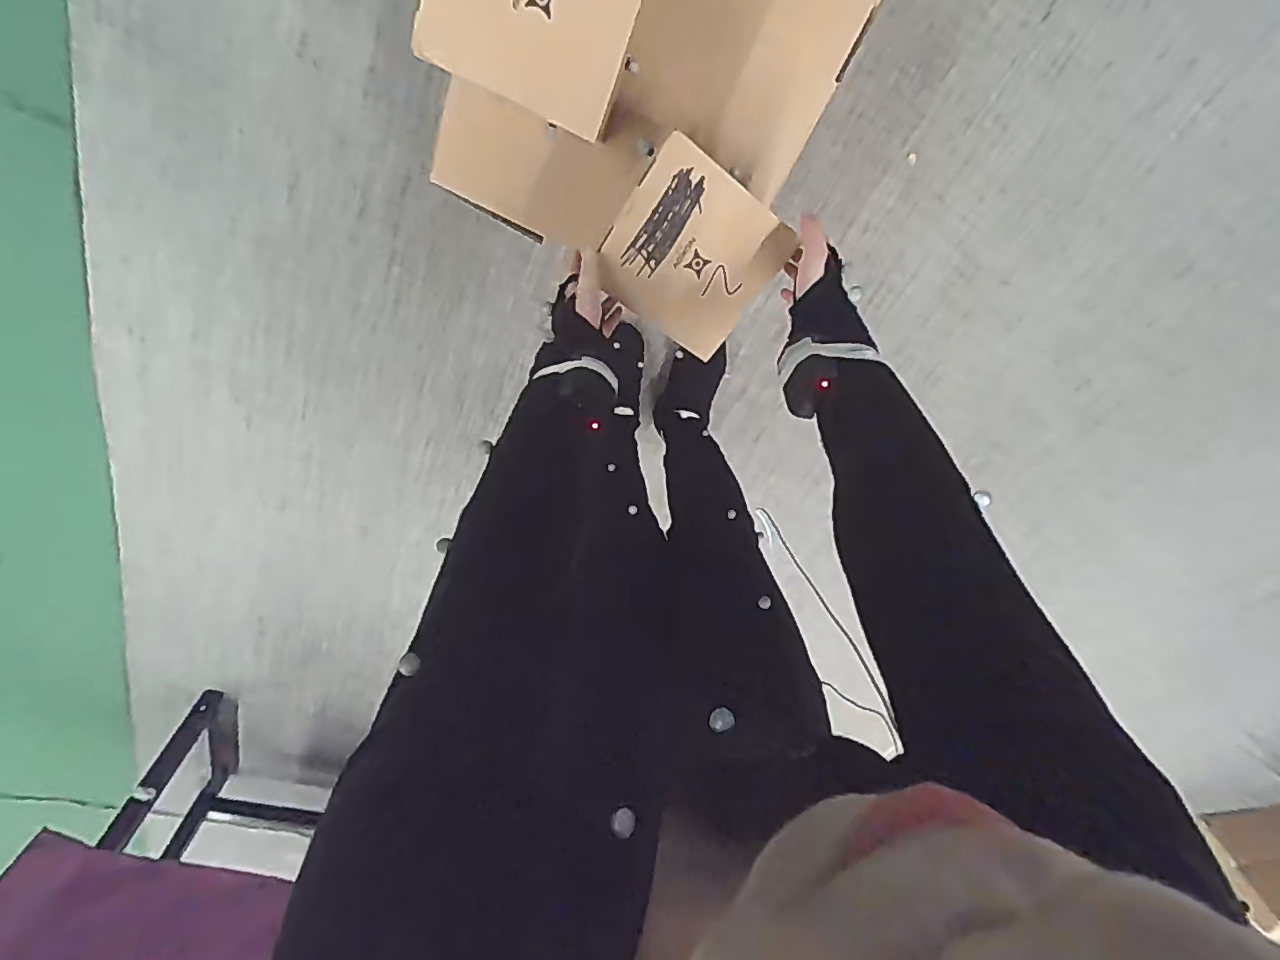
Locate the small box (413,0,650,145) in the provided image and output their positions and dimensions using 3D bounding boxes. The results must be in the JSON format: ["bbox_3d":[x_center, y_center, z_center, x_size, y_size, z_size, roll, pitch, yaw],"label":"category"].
[{"bbox_3d":[-0.090,-0.453,0.520,0.179,0.176,0.168,20,120,-14],"label":"small box"}]
